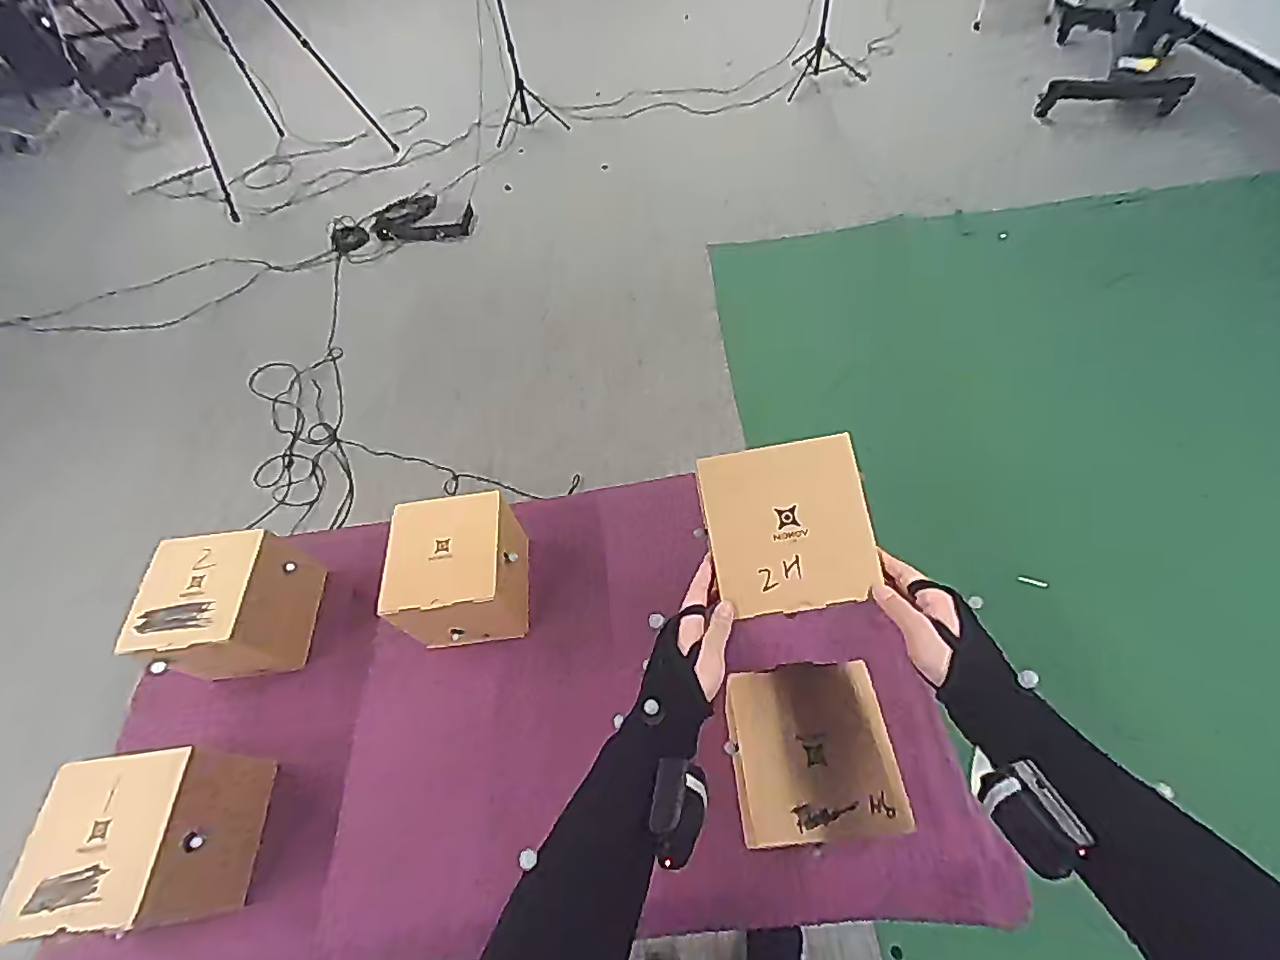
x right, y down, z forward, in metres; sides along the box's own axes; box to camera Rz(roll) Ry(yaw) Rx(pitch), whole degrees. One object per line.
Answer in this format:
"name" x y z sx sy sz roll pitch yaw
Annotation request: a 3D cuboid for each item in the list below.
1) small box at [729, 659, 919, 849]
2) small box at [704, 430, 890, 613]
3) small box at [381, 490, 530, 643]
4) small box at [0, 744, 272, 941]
"small box" 0.202 0.337 0.658 0.168 0.176 0.179 -7 55 3
"small box" 0.169 0.056 0.644 0.168 0.176 0.179 -10 79 6
"small box" -0.273 0.138 0.842 0.168 0.176 0.179 -7 58 1
"small box" -0.607 0.445 0.678 0.168 0.176 0.179 -7 56 1
